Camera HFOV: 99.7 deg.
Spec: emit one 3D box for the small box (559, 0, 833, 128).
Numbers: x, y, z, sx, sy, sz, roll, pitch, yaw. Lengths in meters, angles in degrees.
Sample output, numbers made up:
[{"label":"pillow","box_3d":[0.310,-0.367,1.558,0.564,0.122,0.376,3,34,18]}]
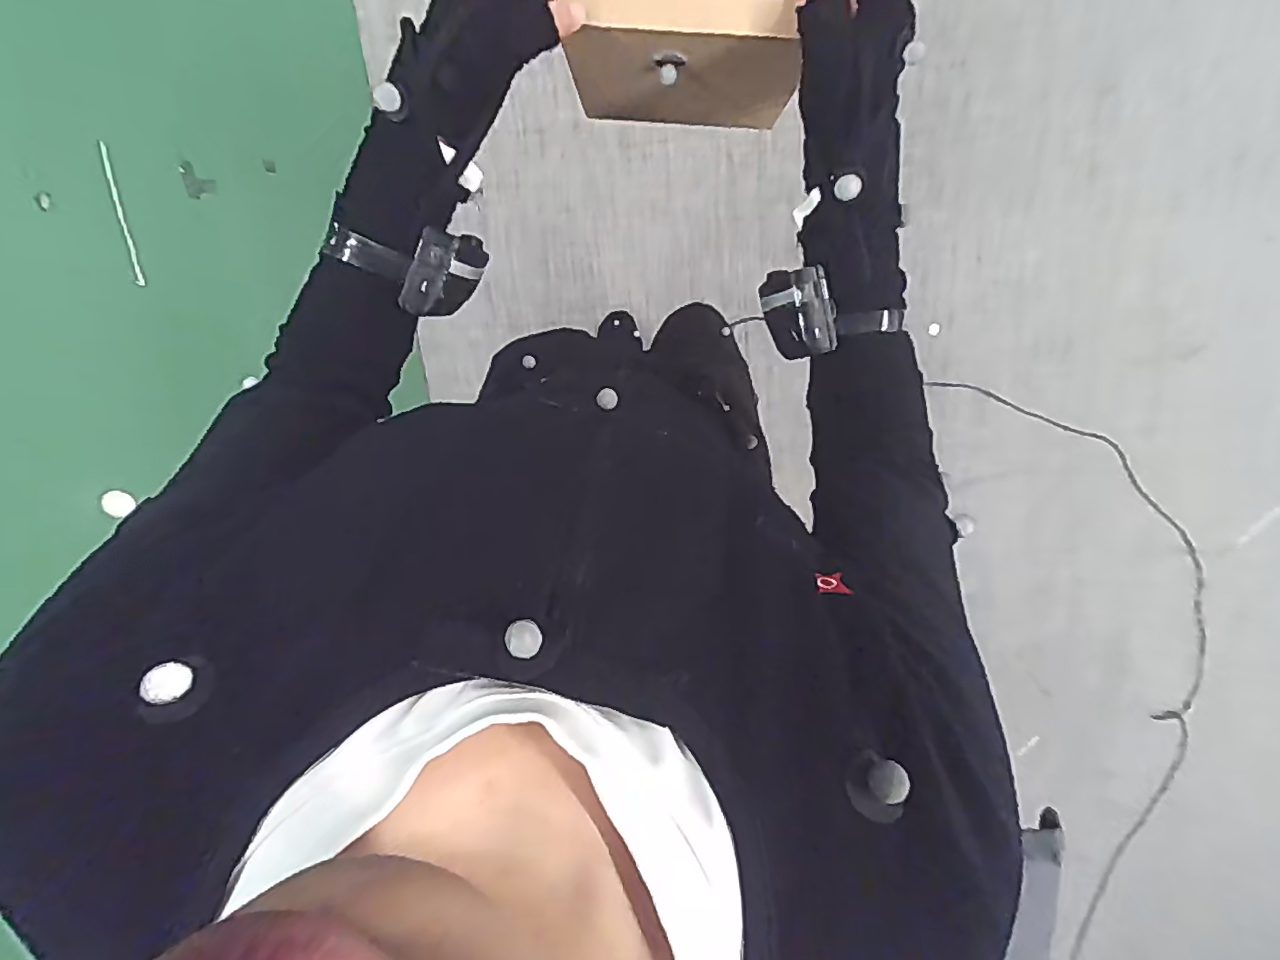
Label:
[{"label":"small box","box_3d":[0.042,-0.385,0.403,0.179,0.176,0.168,3,106,1]}]
